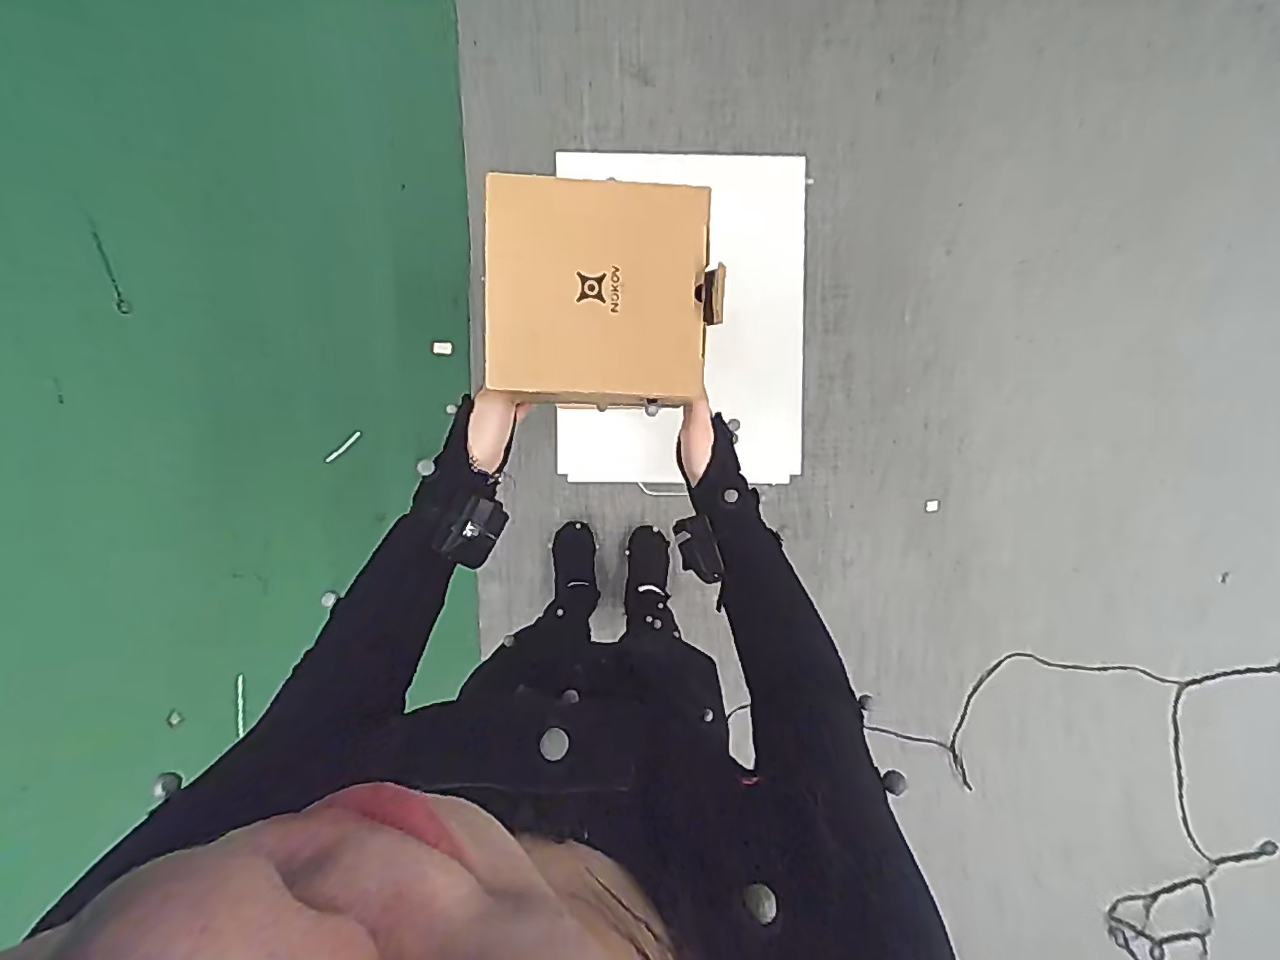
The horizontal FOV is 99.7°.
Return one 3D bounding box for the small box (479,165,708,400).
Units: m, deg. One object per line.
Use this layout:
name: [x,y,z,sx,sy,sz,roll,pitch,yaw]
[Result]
small box: [-0.040,-0.161,0.497,0.179,0.176,0.168,1,96,-4]
